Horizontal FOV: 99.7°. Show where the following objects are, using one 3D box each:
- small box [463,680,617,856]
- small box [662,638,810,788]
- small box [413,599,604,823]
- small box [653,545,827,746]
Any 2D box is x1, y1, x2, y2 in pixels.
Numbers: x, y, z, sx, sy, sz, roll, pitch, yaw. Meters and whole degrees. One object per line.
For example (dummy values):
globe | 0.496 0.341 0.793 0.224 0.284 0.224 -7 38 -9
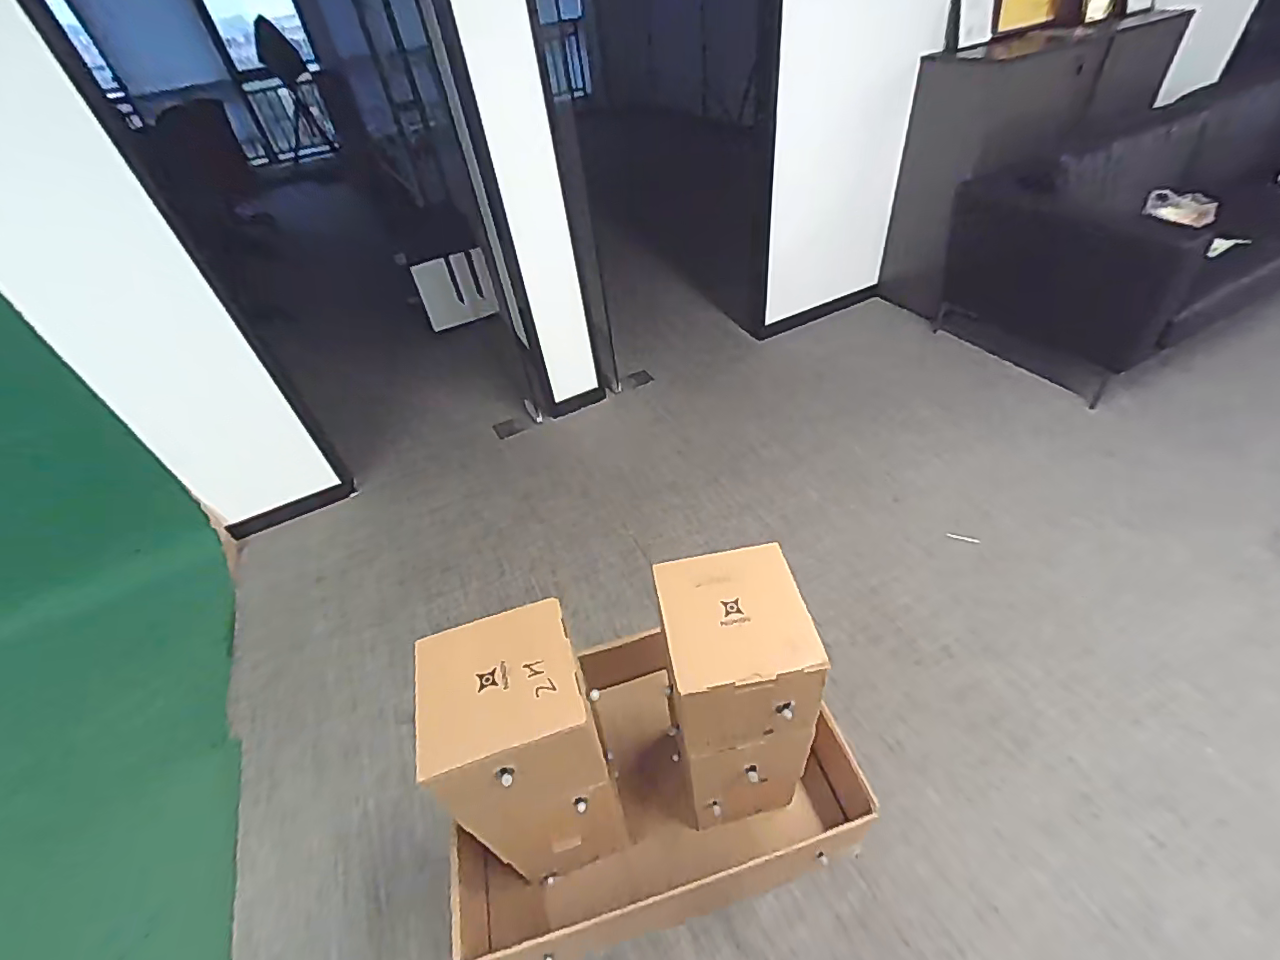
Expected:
small box | -0.142 0.396 0.763 0.179 0.176 0.168 -14 44 -10
small box | 0.131 0.329 0.791 0.168 0.176 0.179 -10 44 -3
small box | -0.153 0.278 0.648 0.179 0.176 0.168 -15 44 -10
small box | 0.115 0.212 0.678 0.168 0.176 0.179 -10 42 -2
